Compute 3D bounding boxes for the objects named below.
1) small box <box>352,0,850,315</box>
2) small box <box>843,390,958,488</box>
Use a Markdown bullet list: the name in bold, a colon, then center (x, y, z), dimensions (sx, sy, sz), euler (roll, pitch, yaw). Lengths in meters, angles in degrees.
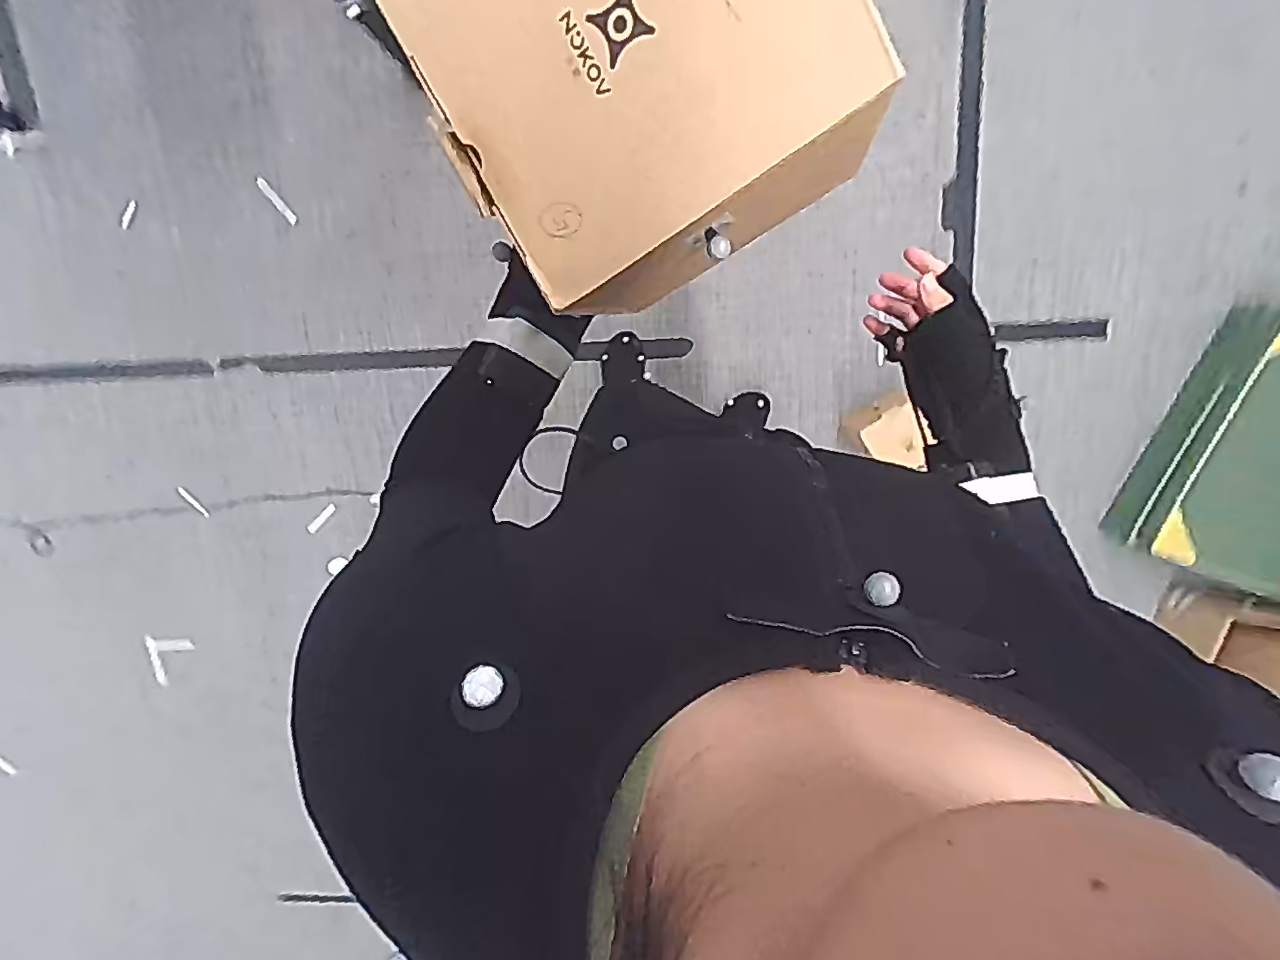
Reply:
- **small box**: center (-0.004, -0.209, 0.302), dimensions (0.179, 0.176, 0.168), euler (-27, 99, 23)
- **small box**: center (0.631, -0.109, 1.336), dimensions (0.168, 0.176, 0.179), euler (-34, 99, 12)
